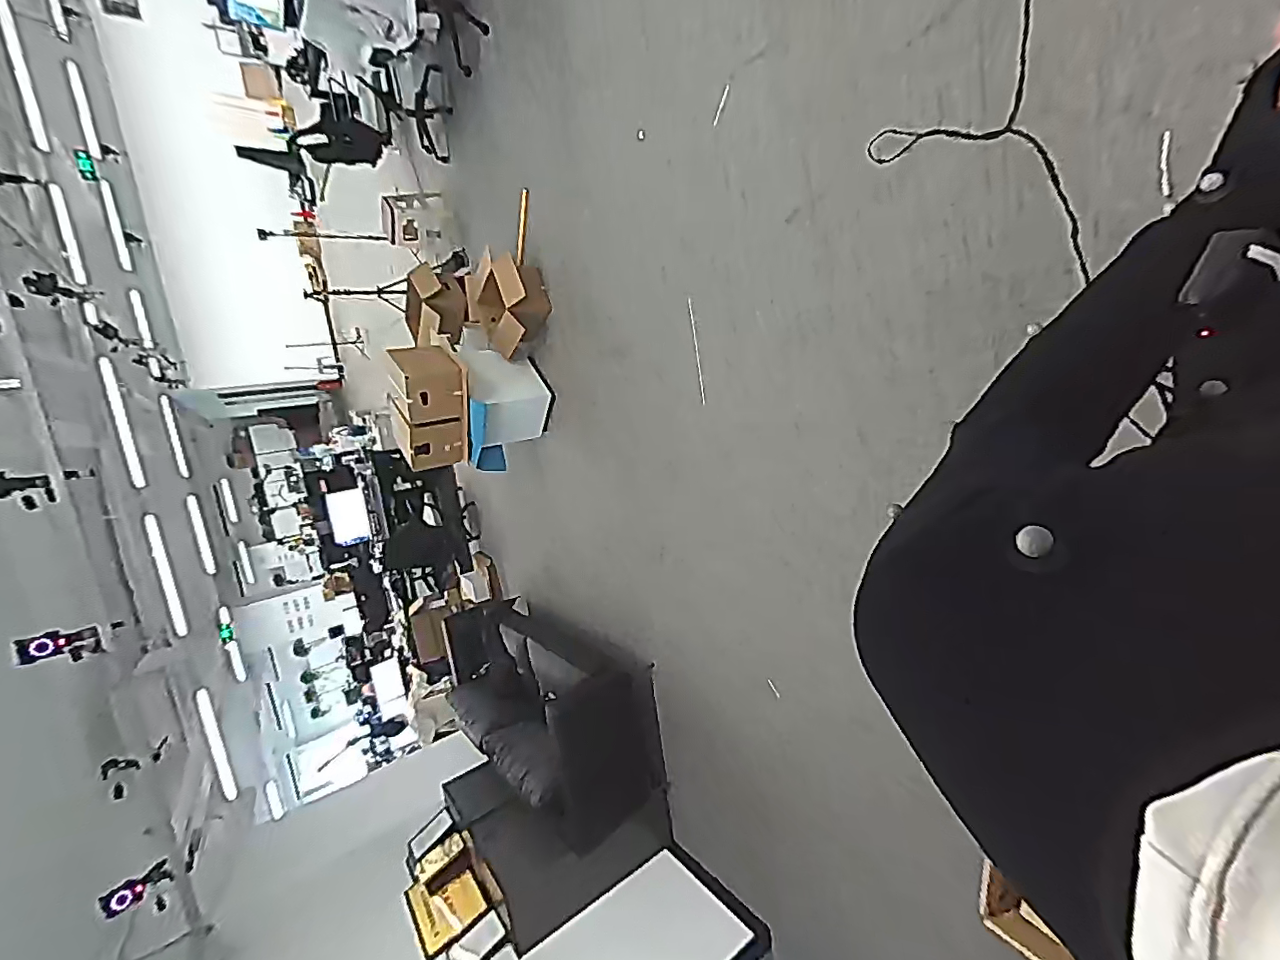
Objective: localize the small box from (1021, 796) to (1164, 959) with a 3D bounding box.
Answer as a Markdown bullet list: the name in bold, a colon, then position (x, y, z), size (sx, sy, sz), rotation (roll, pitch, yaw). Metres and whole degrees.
- **small box**: position (0.917, 0.793, 1.096), size (0.168, 0.176, 0.179), rotation (24, 121, 52)
